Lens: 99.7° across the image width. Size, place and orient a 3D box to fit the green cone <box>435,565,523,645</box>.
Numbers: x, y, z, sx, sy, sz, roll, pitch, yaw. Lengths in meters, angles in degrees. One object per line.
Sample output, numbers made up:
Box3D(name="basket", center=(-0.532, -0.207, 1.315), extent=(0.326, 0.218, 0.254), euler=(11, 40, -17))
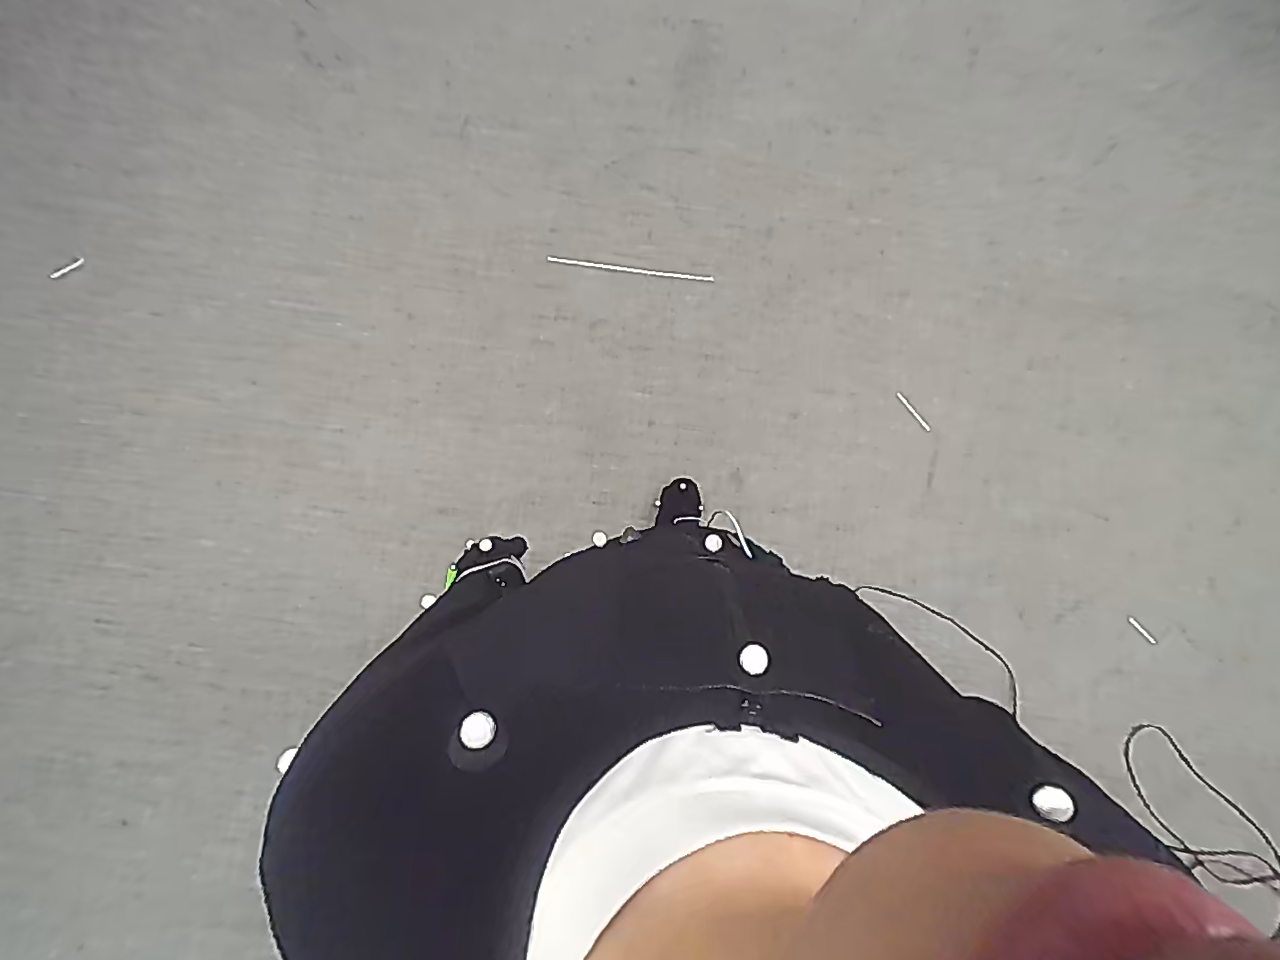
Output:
Box3D(name="green cone", center=(-0.412, 0.317, 1.272), extent=(0.202, 0.368, 0.200), euler=(6, 84, -3))
